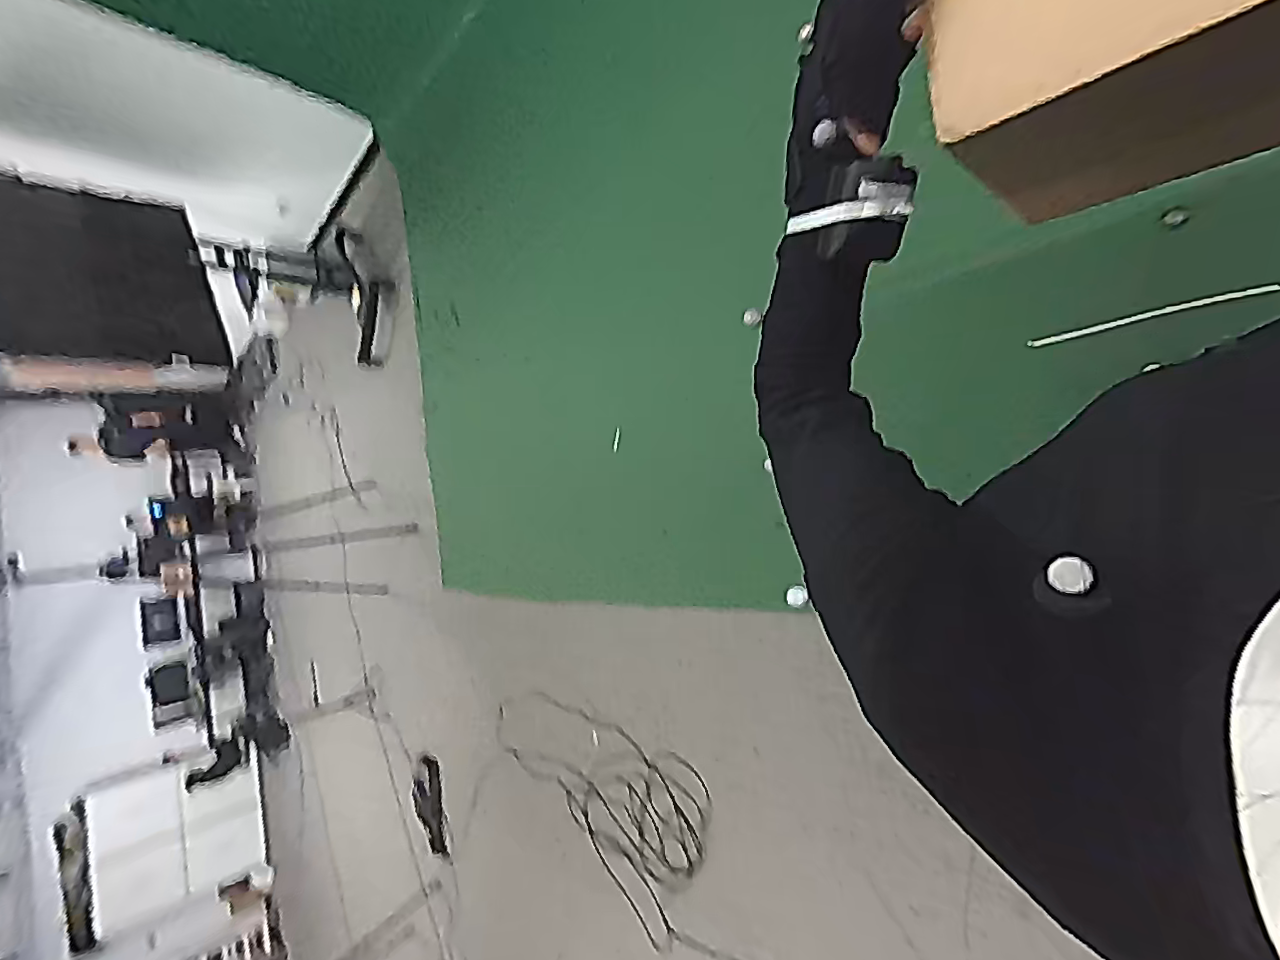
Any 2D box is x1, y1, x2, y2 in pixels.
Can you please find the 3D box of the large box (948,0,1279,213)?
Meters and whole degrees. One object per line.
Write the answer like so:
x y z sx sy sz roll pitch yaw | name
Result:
0.442 -0.426 0.331 0.408 0.320 0.320 -6 95 46 | large box
